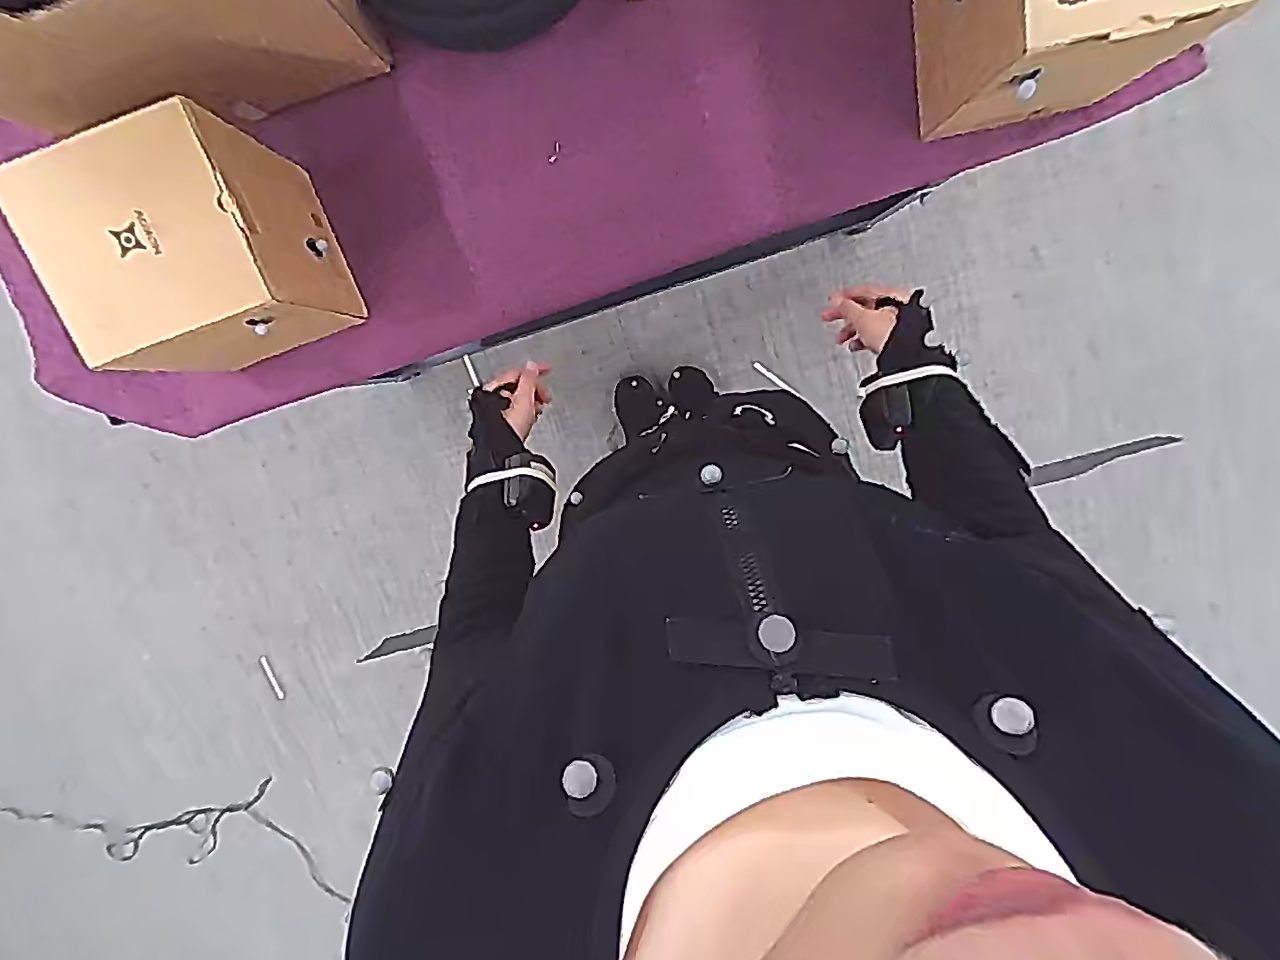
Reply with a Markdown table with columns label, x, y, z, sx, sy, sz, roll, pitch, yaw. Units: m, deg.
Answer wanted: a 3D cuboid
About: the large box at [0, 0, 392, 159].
| label | x | y | z | sx | sy | sz | roll | pitch | yaw |
| --- | --- | --- | --- | --- | --- | --- | --- | --- | --- |
| large box | -0.458 | -0.533 | 0.388 | 0.320 | 0.320 | 0.408 | -17 | 105 | 6 |
